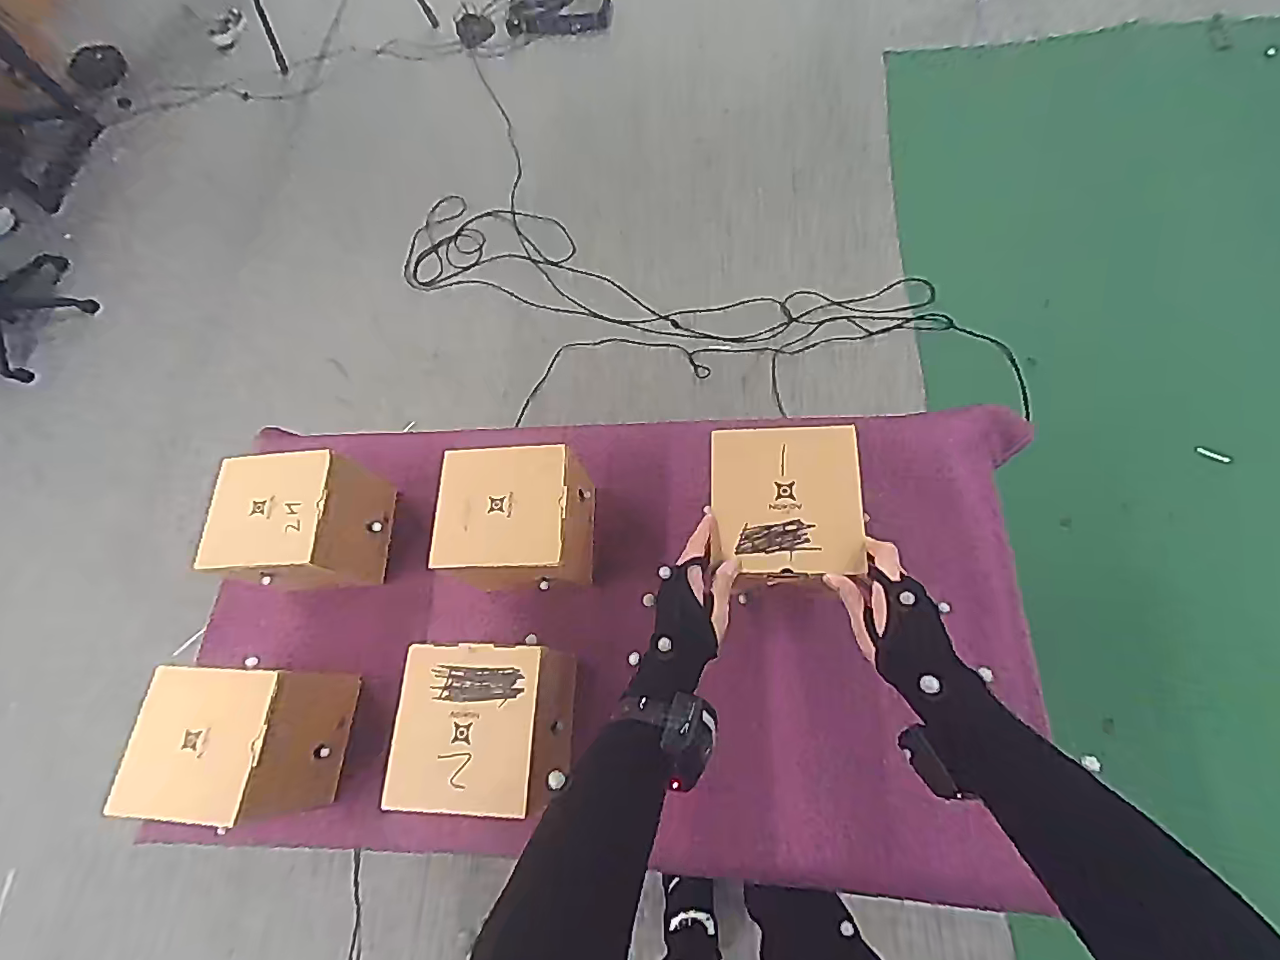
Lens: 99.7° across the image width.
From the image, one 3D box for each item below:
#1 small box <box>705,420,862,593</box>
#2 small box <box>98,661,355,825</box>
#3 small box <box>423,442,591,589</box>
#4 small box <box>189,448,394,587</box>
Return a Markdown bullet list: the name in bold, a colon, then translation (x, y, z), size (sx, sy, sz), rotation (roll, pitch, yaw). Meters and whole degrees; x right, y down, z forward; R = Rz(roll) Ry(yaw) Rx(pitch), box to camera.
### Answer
- **small box**: translation (0.173, 0.042, 0.671), size (0.168, 0.176, 0.179), rotation (-1, 70, 12)
- **small box**: translation (-0.519, 0.335, 0.708), size (0.179, 0.176, 0.168), rotation (0, 67, 8)
- **small box**: translation (-0.172, 0.057, 0.765), size (0.179, 0.176, 0.168), rotation (-3, 68, 9)
- **small box**: translation (-0.507, 0.064, 0.812), size (0.179, 0.176, 0.168), rotation (-4, 69, 7)
